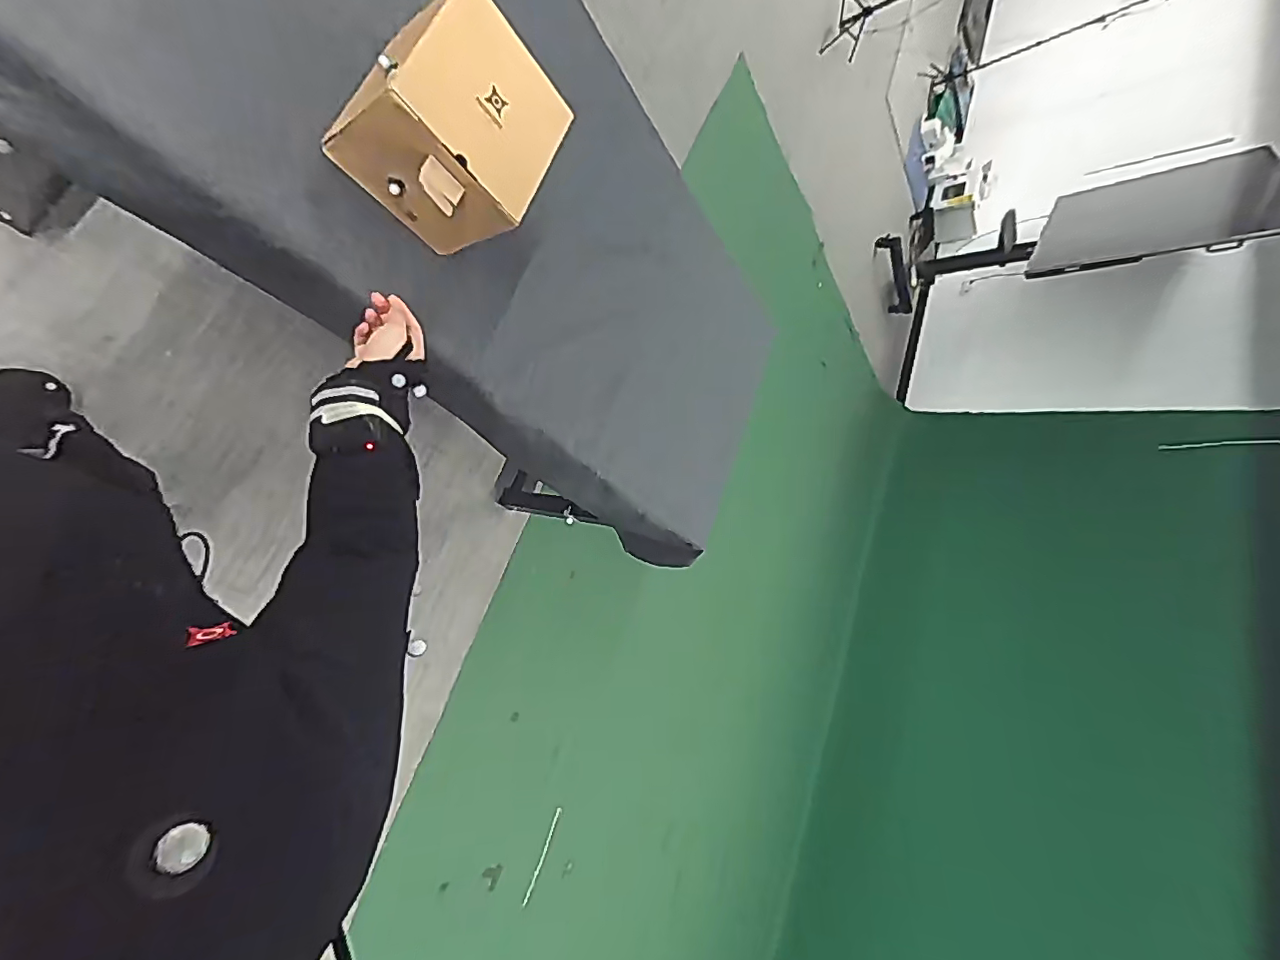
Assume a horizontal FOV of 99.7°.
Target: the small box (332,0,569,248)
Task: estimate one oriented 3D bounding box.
[{"bbox_3d":[-0.219,-0.405,0.630,0.168,0.176,0.179,37,66,-46],"label":"small box"}]
